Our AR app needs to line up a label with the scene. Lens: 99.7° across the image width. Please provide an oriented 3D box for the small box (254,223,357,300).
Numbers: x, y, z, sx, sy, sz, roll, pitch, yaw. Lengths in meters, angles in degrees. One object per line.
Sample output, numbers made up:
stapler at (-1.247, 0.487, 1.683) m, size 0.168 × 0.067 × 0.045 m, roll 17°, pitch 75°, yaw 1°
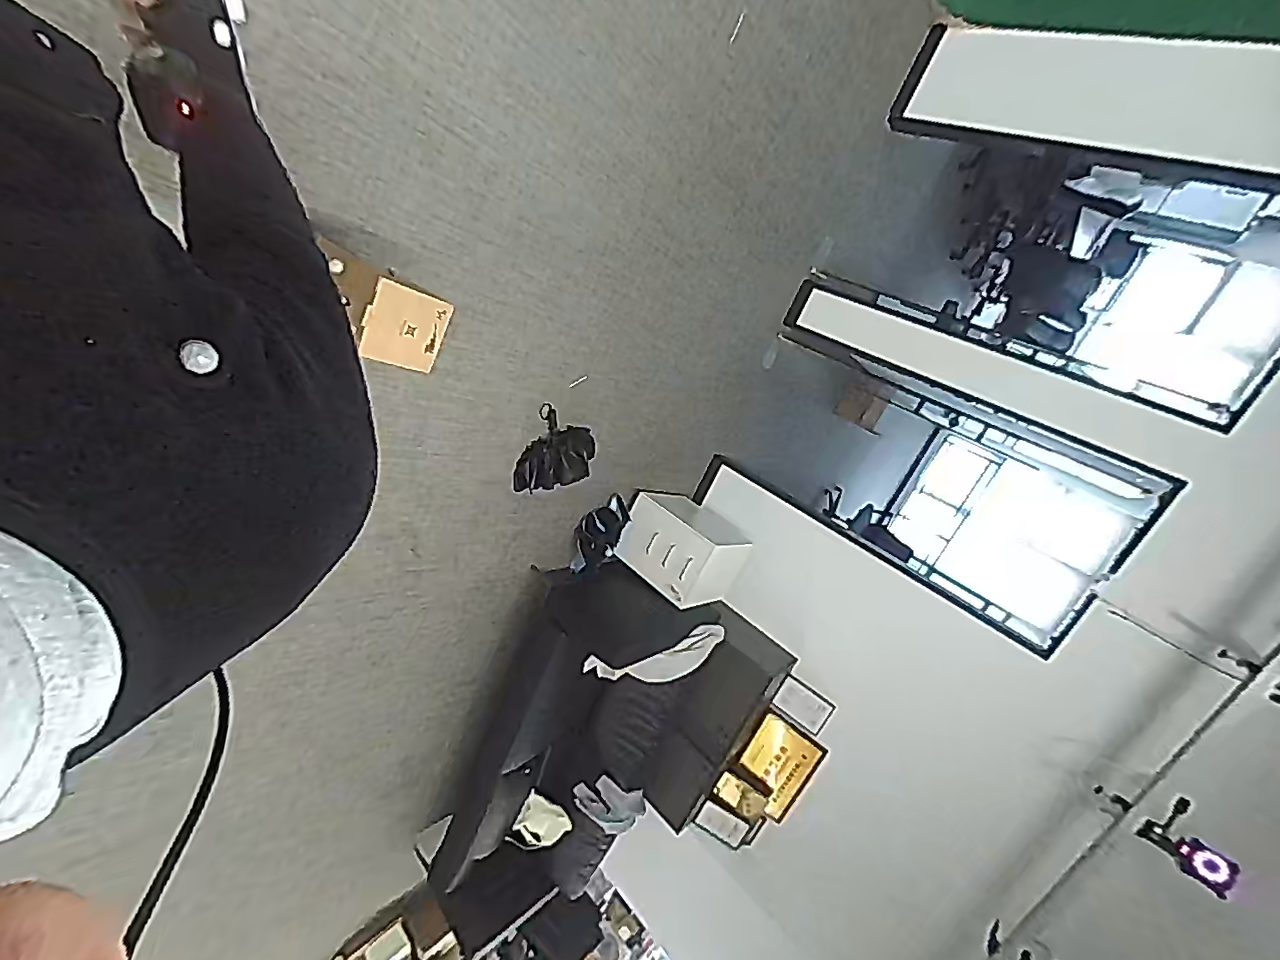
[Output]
small box at (-0.813, -0.510, 1.348) m, size 0.168 × 0.176 × 0.179 m, roll -60°, pitch 149°, yaw 5°

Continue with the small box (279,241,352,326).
small box at (-0.695, -0.429, 1.267) m, size 0.168 × 0.176 × 0.179 m, roll -60°, pitch 150°, yaw 4°

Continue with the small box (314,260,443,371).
small box at (-0.574, -0.361, 1.182) m, size 0.179 × 0.176 × 0.168 m, roll 7°, pitch 112°, yaw -58°
